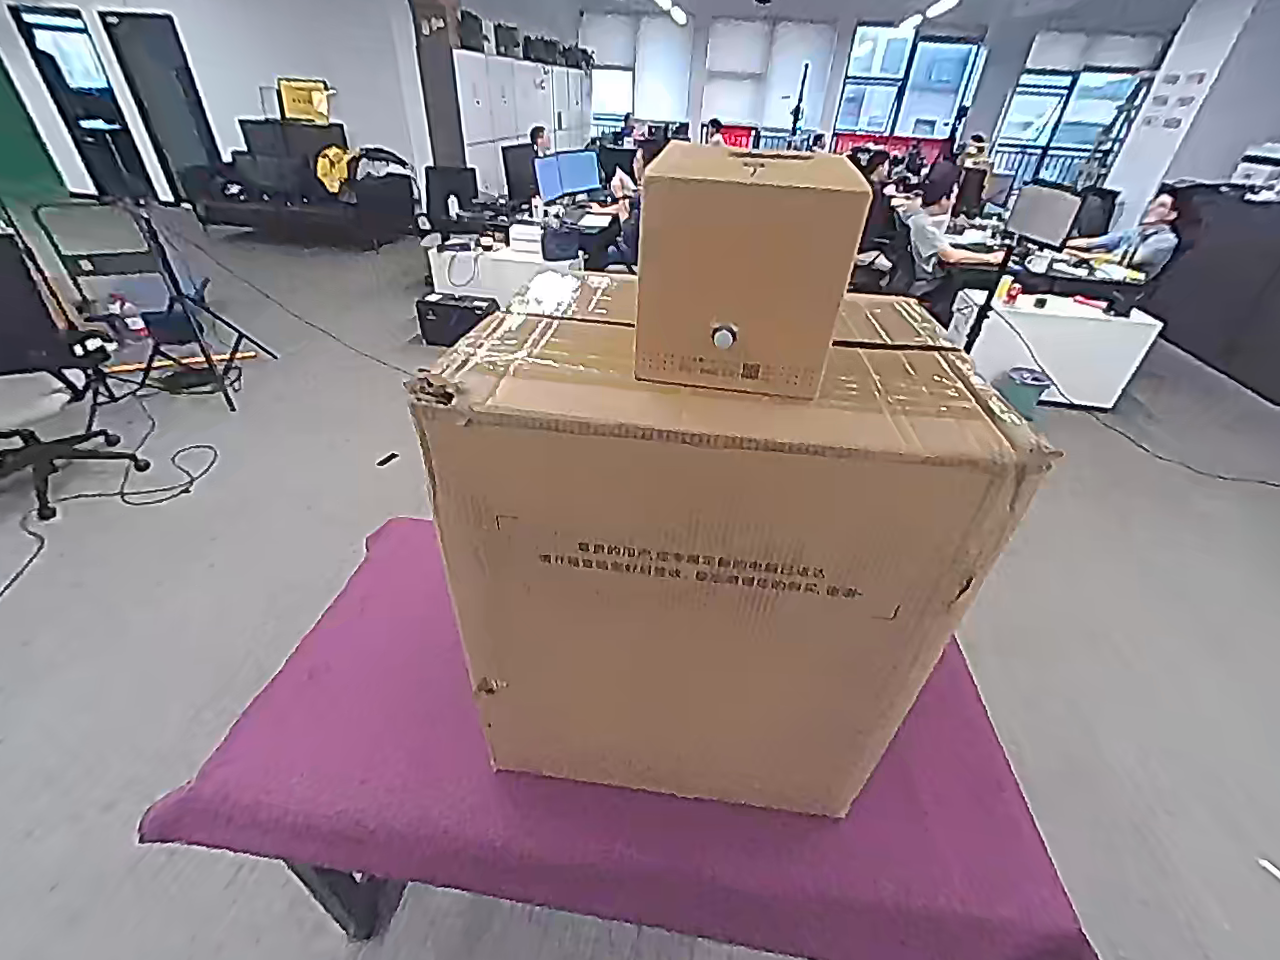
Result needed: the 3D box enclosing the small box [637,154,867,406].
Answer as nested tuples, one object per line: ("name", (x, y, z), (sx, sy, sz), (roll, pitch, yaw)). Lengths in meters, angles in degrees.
("small box", (0.091, -0.190, 0.501), (0.168, 0.176, 0.179), (7, 38, 7))
